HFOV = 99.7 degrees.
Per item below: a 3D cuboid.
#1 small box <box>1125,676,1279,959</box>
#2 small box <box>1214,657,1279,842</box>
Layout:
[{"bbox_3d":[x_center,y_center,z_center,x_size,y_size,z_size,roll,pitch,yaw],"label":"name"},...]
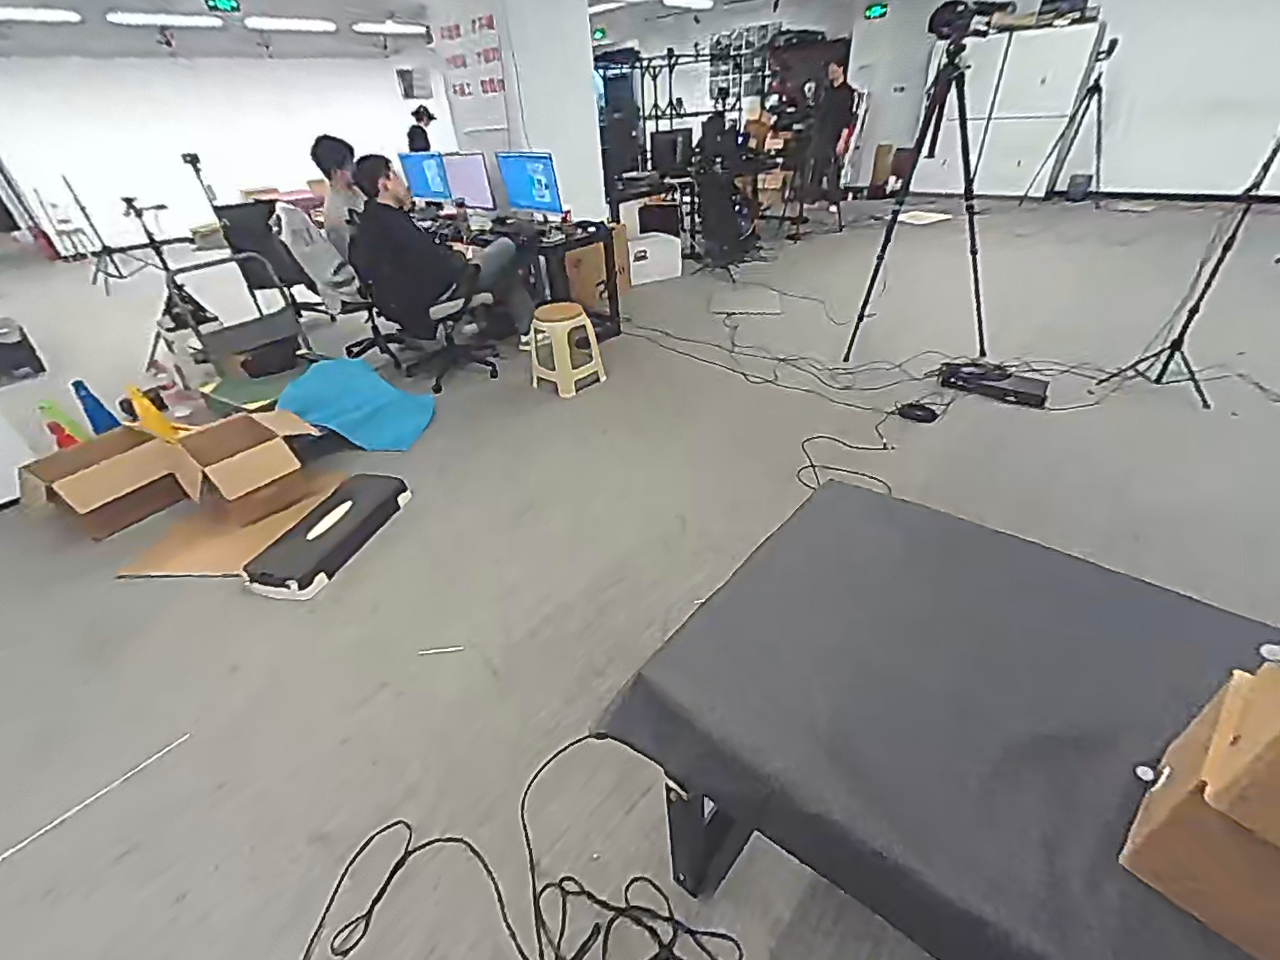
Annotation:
[{"bbox_3d":[0.599,0.326,0.487,0.168,0.176,0.179,-27,39,-32],"label":"small box"},{"bbox_3d":[0.575,0.200,0.384,0.168,0.176,0.179,-26,40,-30],"label":"small box"}]
